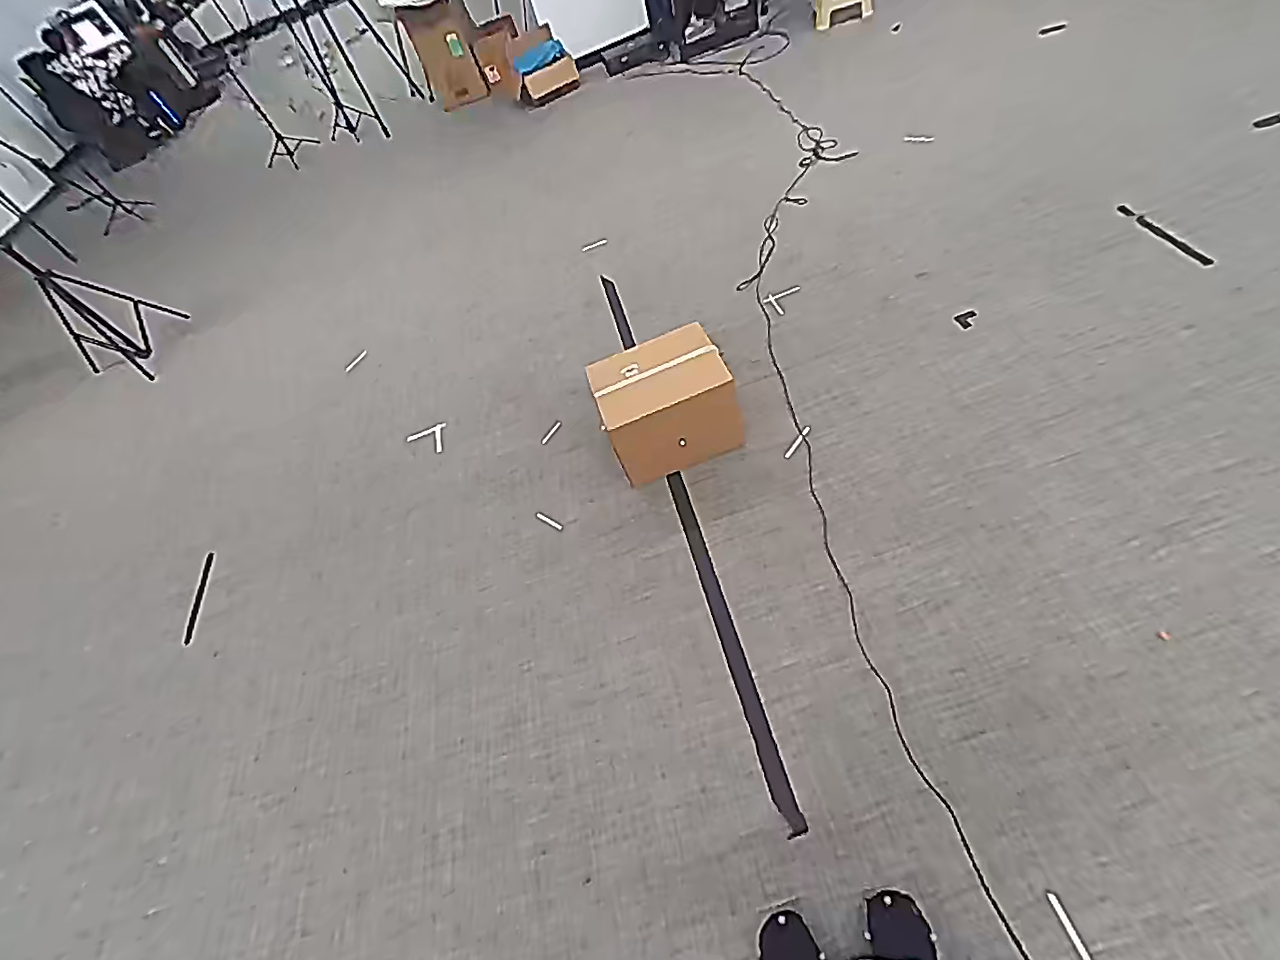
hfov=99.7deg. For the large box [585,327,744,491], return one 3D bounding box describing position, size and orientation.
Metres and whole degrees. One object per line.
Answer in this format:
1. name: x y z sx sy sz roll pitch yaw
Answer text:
1. large box: 0.085 -0.228 1.783 0.408 0.320 0.320 -23 50 3
